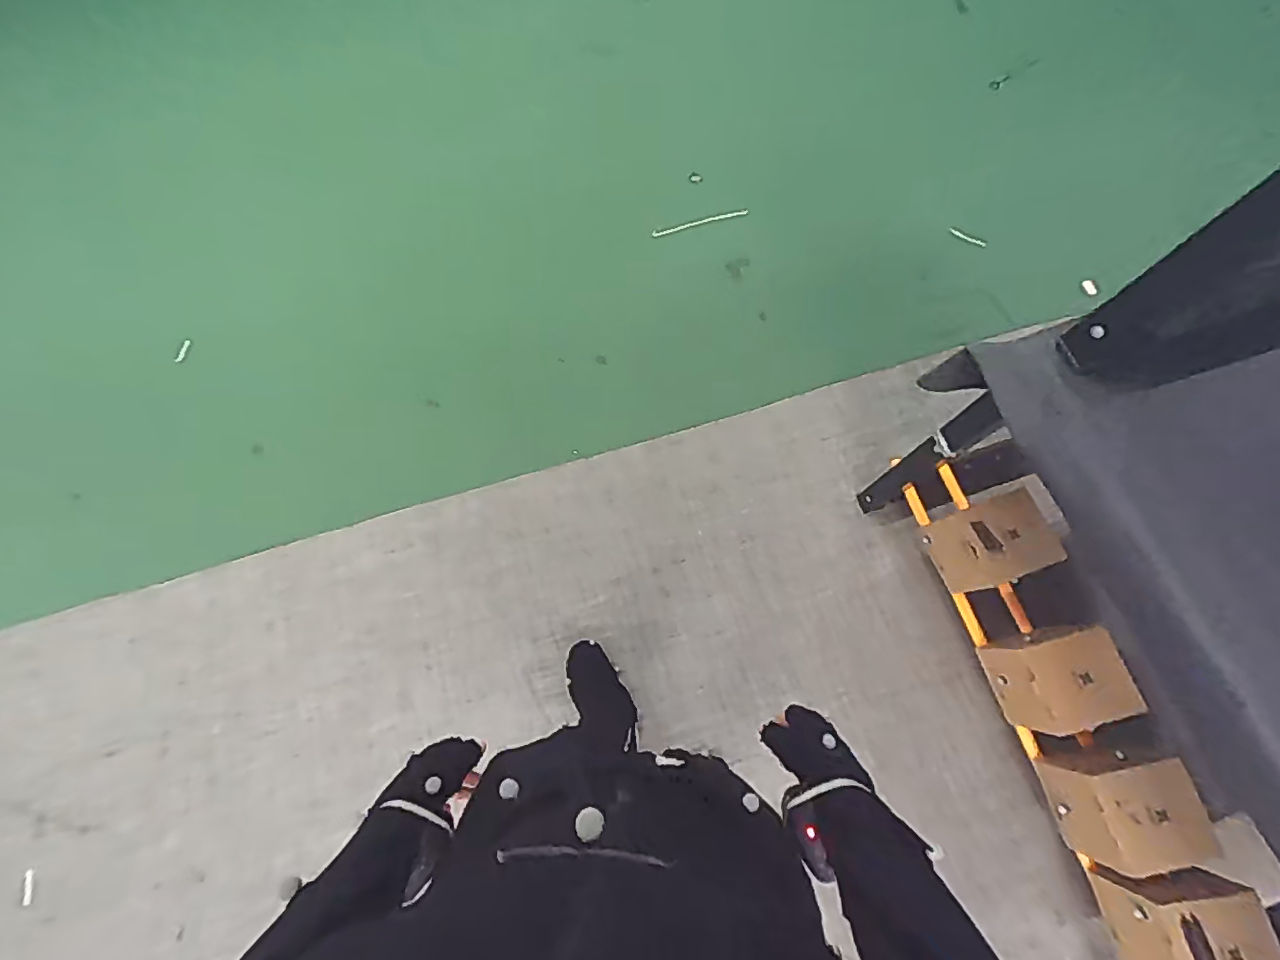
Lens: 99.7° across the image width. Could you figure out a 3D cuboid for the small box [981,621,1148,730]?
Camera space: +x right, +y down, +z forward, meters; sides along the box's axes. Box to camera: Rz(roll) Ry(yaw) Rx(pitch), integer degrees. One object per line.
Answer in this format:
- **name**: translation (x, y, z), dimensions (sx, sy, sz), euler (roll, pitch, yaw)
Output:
- **small box**: translation (0.853, 0.391, 1.108), dimensions (0.179, 0.176, 0.168), euler (-16, 74, -1)
